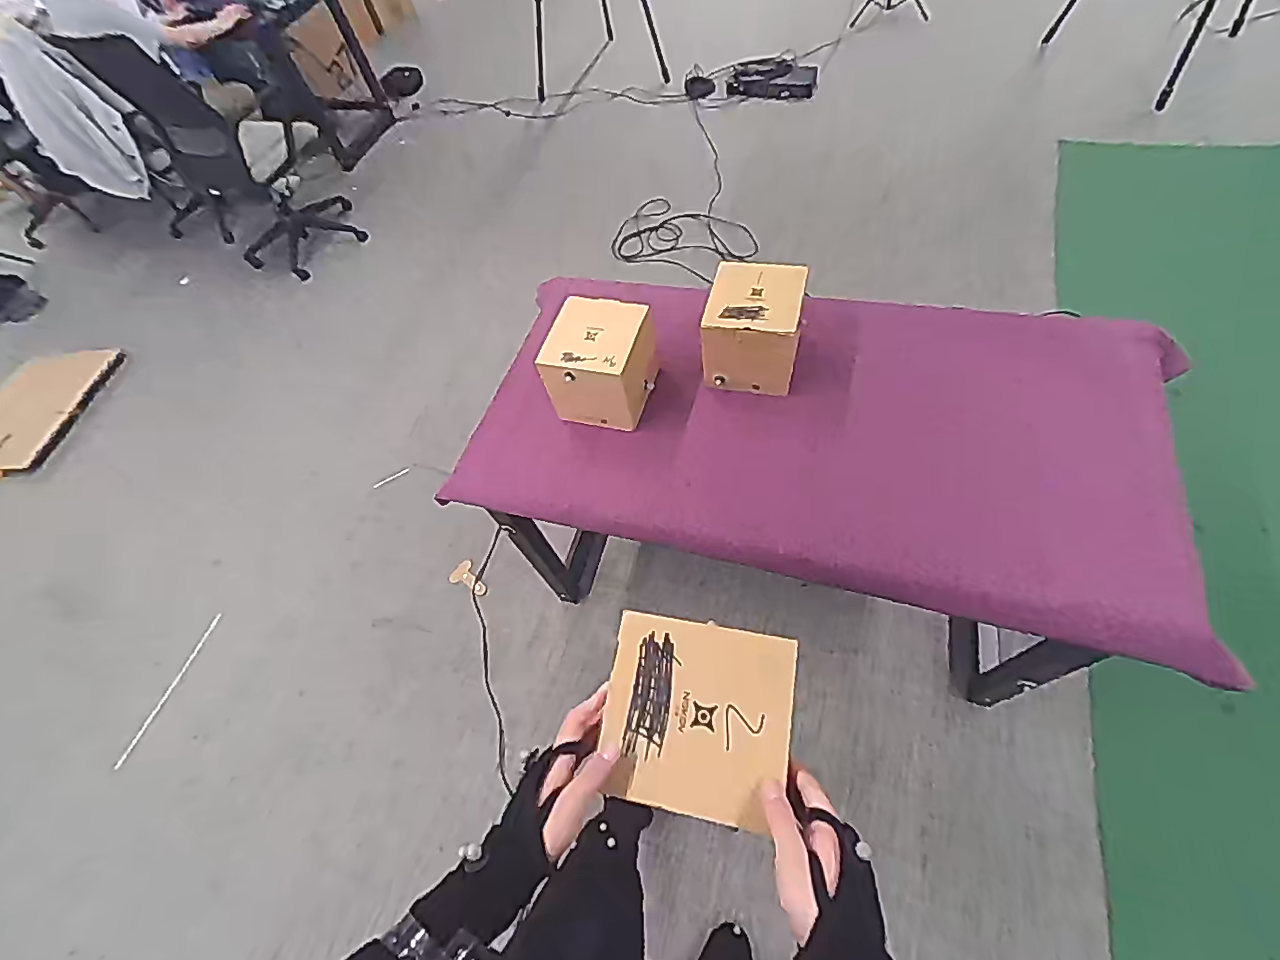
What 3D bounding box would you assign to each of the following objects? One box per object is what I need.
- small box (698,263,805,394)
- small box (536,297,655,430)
[{"bbox_3d":[0.215,-0.287,1.039,0.168,0.176,0.179,10,60,15],"label":"small box"},{"bbox_3d":[-0.074,-0.224,1.045,0.168,0.176,0.179,11,61,17],"label":"small box"}]
